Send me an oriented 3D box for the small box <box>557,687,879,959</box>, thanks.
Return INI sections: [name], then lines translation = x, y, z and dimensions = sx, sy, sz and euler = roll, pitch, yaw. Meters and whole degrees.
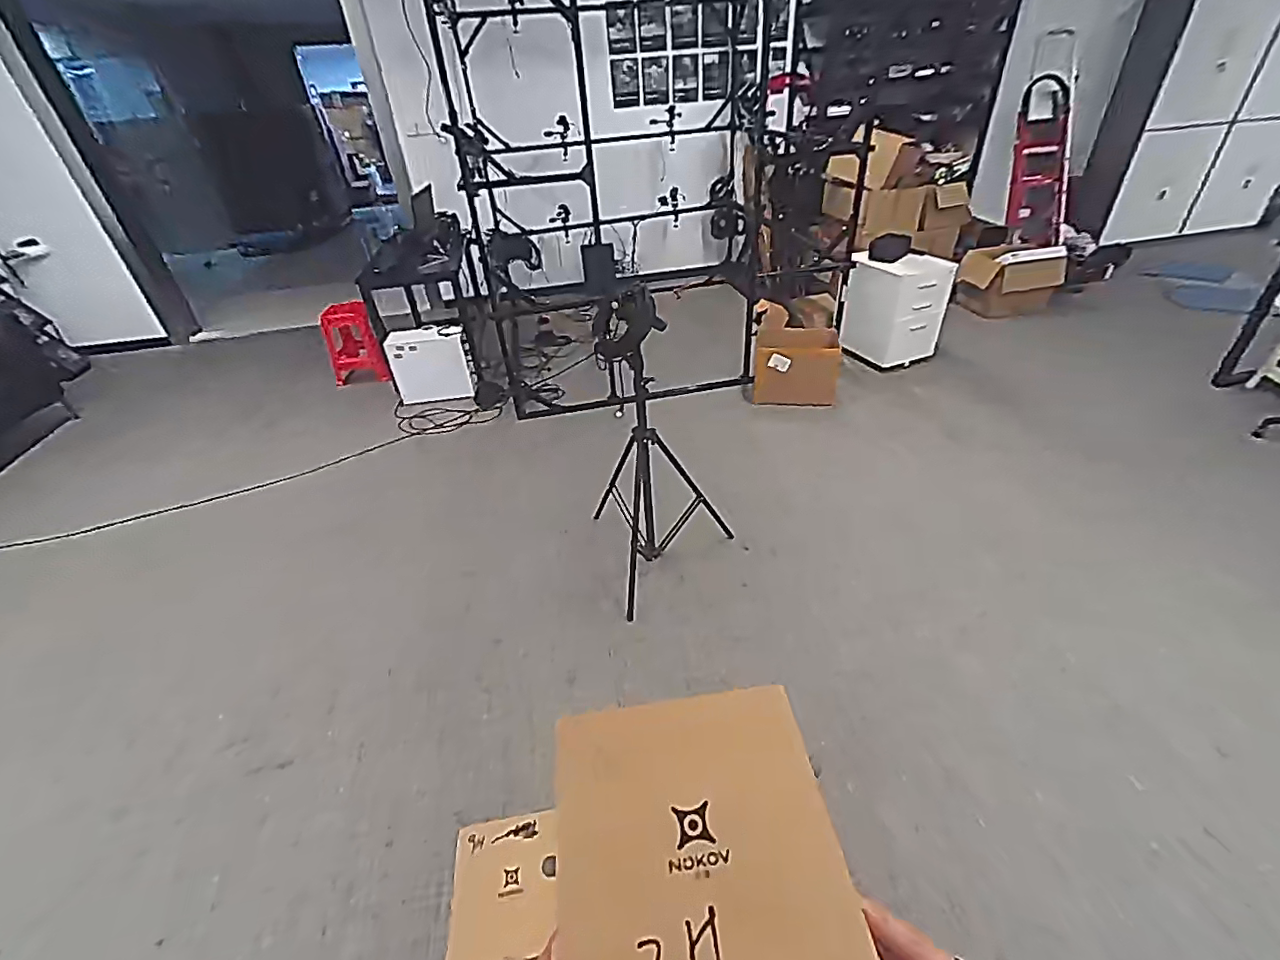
[small box]
translation = 0.038, 0.271, 0.367
dimensions = 0.168, 0.176, 0.179
euler = -8, 42, -2
